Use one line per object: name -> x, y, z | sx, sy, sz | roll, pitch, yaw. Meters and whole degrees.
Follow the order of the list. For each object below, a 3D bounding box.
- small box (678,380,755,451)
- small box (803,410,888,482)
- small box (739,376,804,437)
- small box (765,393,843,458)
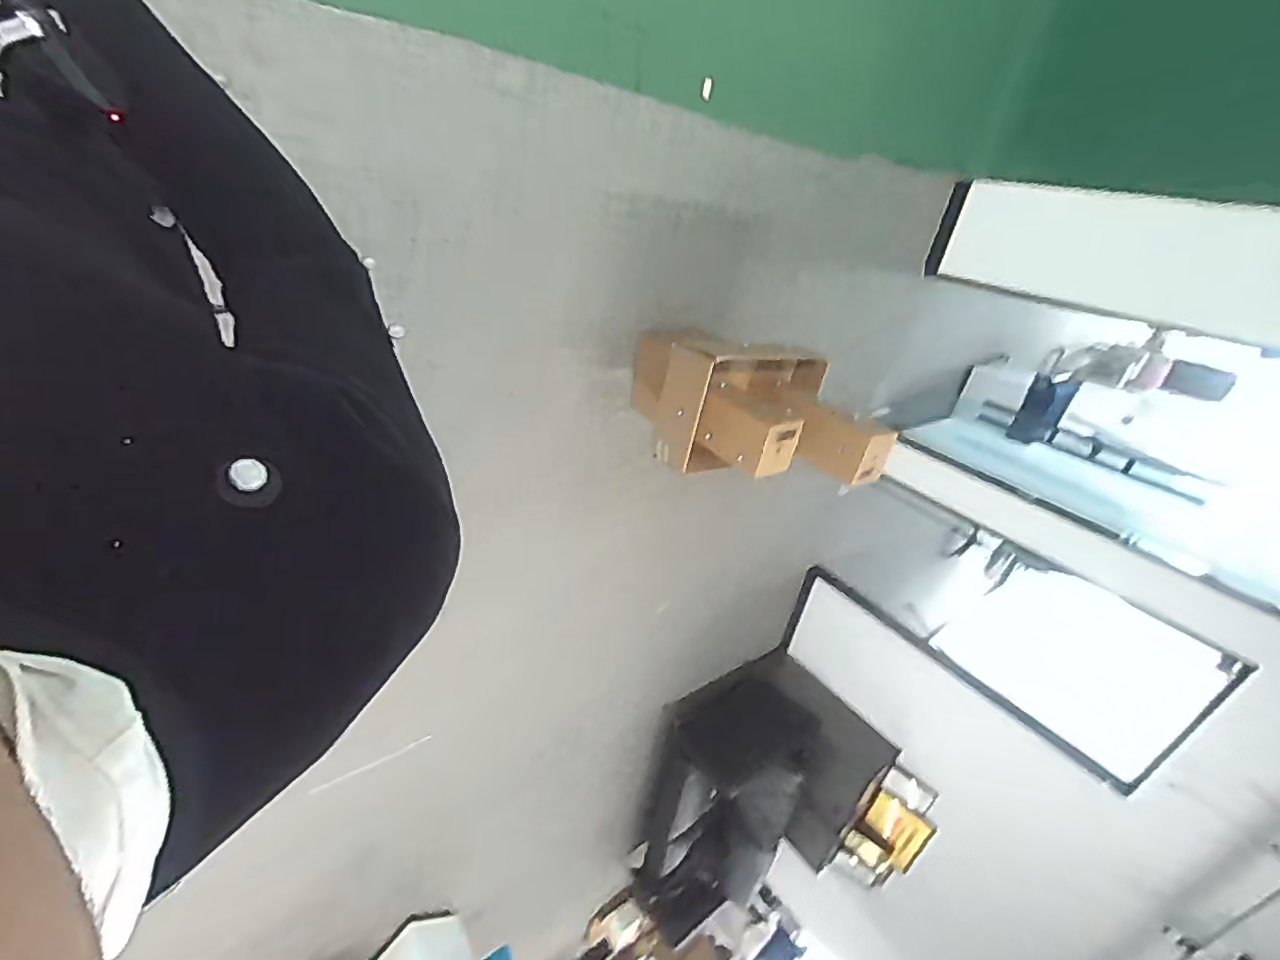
small box -> 0.246, -0.218, 1.790 | 0.168, 0.176, 0.179 | -13, 126, -39
small box -> 0.656, -0.115, 1.748 | 0.168, 0.176, 0.179 | -9, 123, -38
small box -> 0.456, -0.270, 1.958 | 0.168, 0.176, 0.179 | -8, 124, -39
small box -> 0.557, -0.193, 1.855 | 0.168, 0.176, 0.179 | -8, 122, -38
